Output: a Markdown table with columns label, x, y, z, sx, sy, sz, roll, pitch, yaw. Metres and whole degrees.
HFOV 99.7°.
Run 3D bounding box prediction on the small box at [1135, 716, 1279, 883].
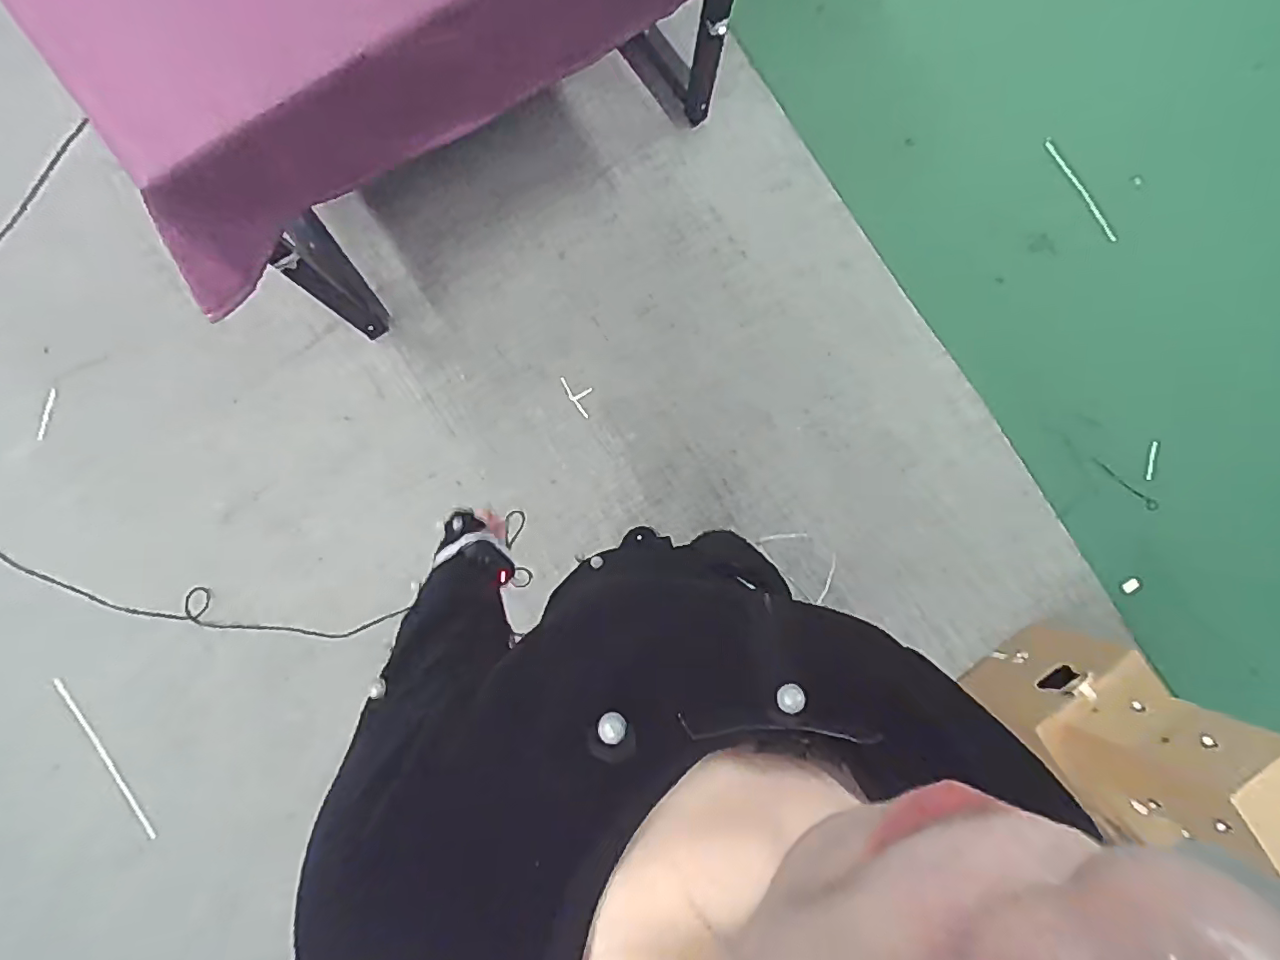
| label | x | y | z | sx | sy | sz | roll | pitch | yaw |
| --- | --- | --- | --- | --- | --- | --- | --- | --- | --- |
| small box | 1.065 | 0.553 | 0.971 | 0.168 | 0.176 | 0.179 | -32 | 89 | -4 |

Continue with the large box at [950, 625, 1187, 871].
| label | x | y | z | sx | sy | sz | roll | pitch | yaw |
| --- | --- | --- | --- | --- | --- | --- | --- | --- | --- |
| large box | 1.106 | 0.644 | 1.378 | 0.320 | 0.320 | 0.408 | -34 | 90 | -5 |

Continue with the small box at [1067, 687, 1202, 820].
| label | x | y | z | sx | sy | sz | roll | pitch | yaw |
| --- | --- | --- | --- | --- | --- | --- | --- | --- | --- |
| small box | 1.063 | 0.562 | 1.136 | 0.168 | 0.176 | 0.179 | -32 | 89 | -5 |
